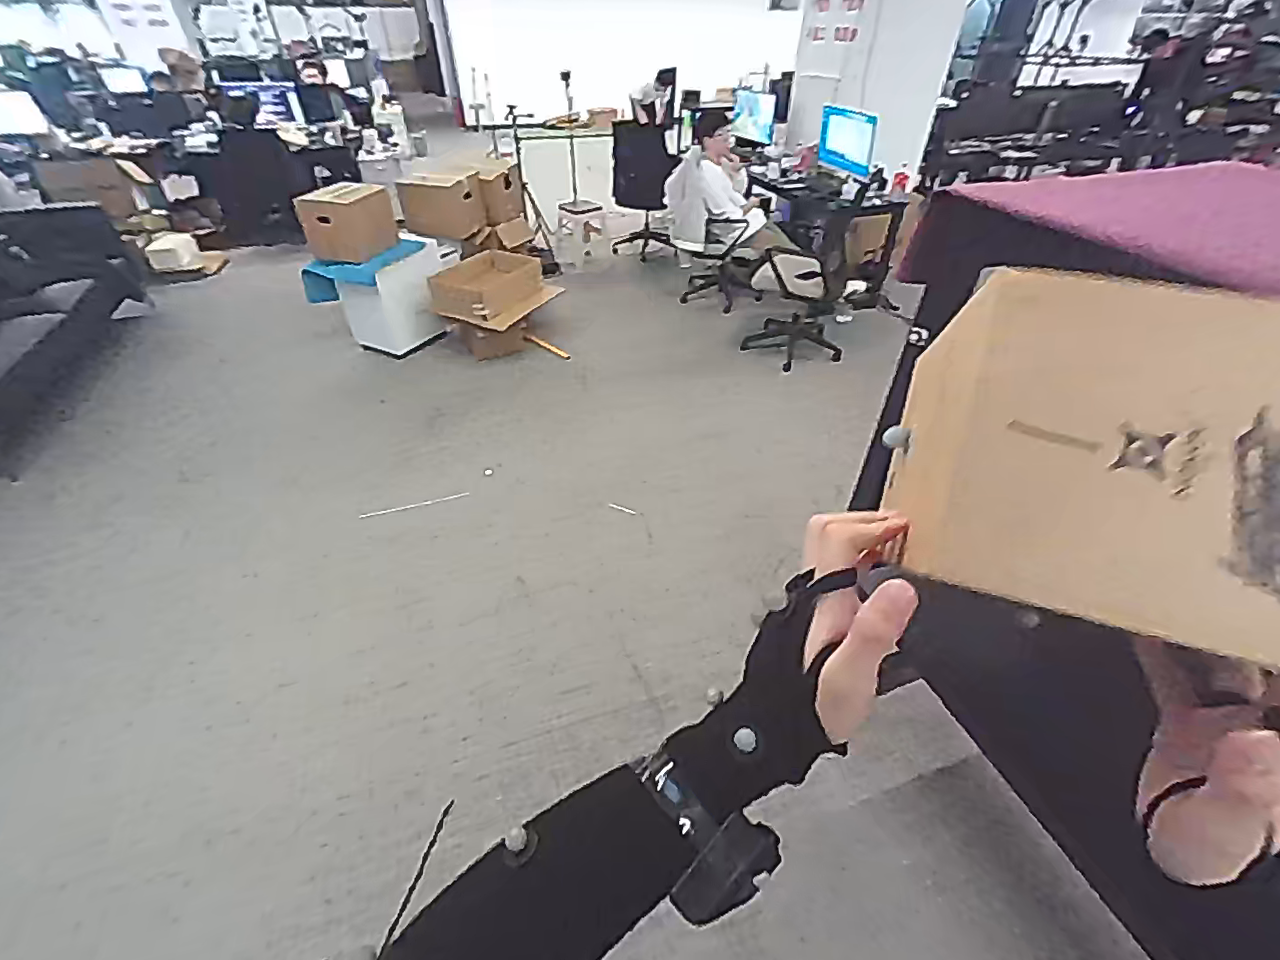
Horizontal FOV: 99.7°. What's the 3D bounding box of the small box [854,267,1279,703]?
[{"bbox_3d":[0.245,0.002,0.320,0.179,0.168,0.176,16,-1,15],"label":"small box"}]
